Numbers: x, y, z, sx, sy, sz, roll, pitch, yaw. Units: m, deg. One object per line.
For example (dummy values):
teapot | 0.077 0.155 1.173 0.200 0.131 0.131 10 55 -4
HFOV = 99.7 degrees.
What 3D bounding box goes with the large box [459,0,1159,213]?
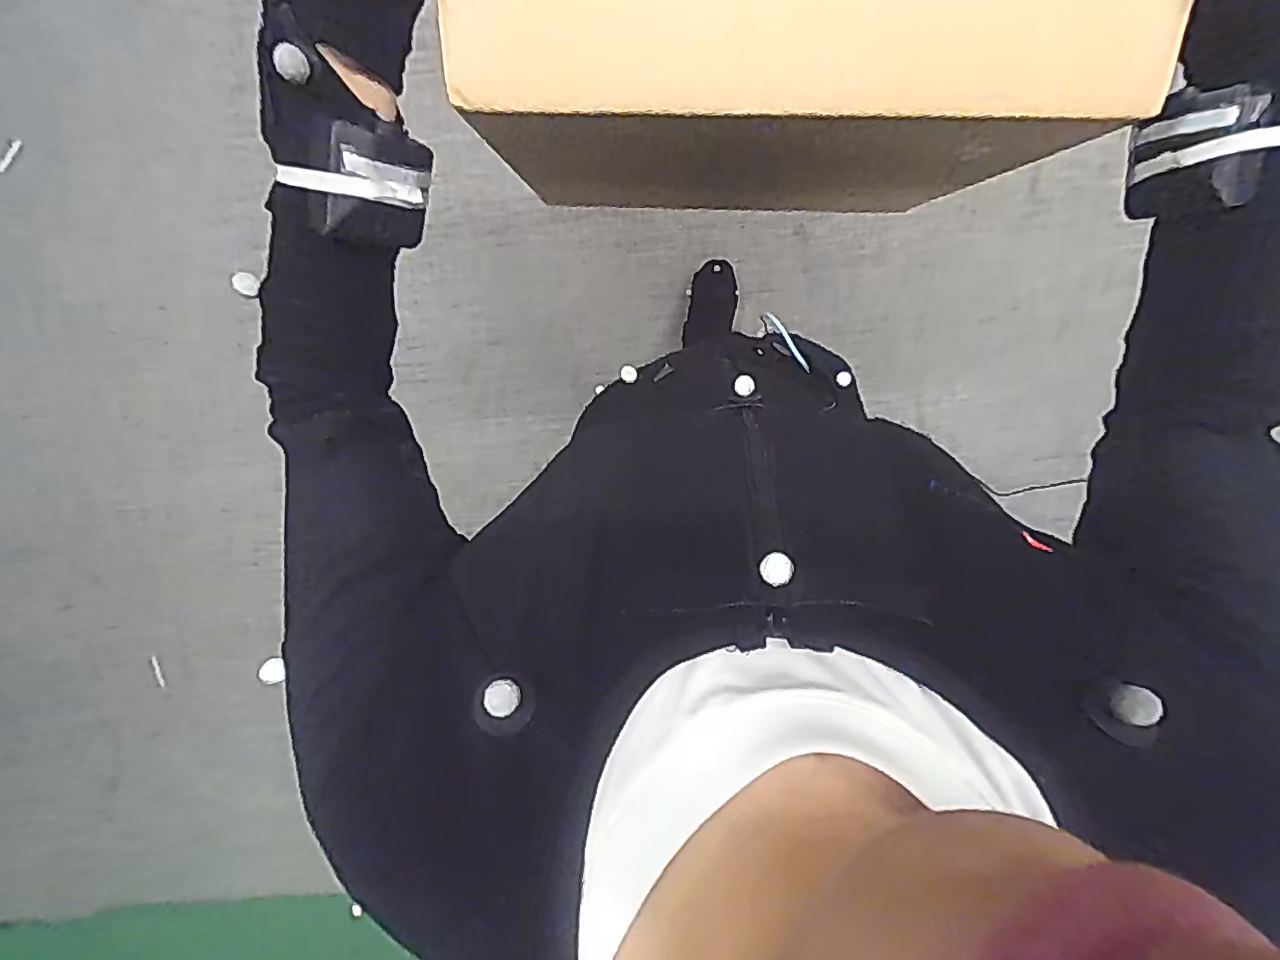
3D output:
large box | 0.093 -0.407 0.420 0.408 0.320 0.320 0 108 1
